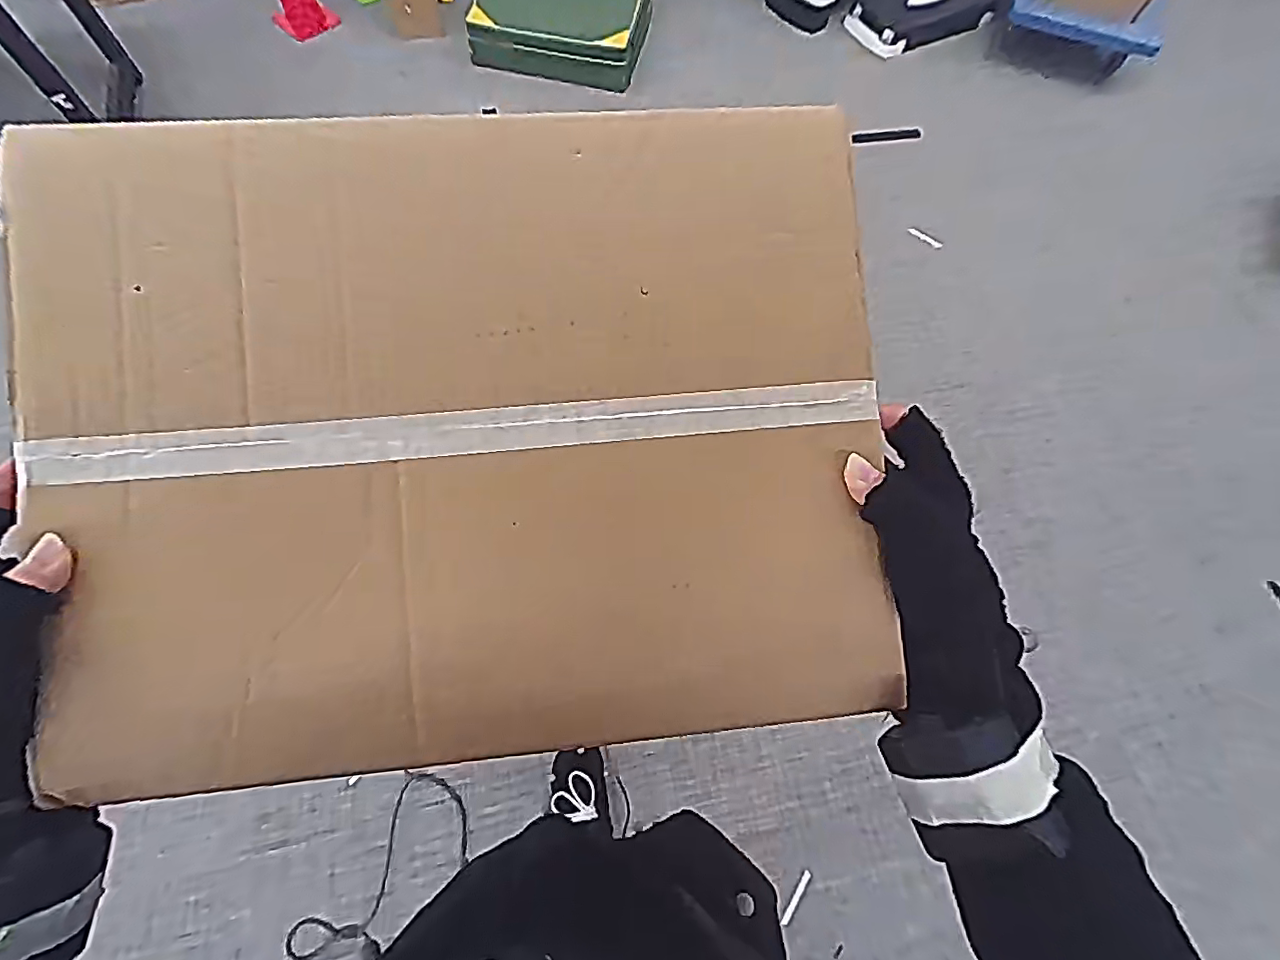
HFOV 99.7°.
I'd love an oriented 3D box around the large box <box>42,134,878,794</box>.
[{"bbox_3d":[-0.092,-0.016,0.423,0.408,0.320,0.320,-4,87,-5],"label":"large box"}]
